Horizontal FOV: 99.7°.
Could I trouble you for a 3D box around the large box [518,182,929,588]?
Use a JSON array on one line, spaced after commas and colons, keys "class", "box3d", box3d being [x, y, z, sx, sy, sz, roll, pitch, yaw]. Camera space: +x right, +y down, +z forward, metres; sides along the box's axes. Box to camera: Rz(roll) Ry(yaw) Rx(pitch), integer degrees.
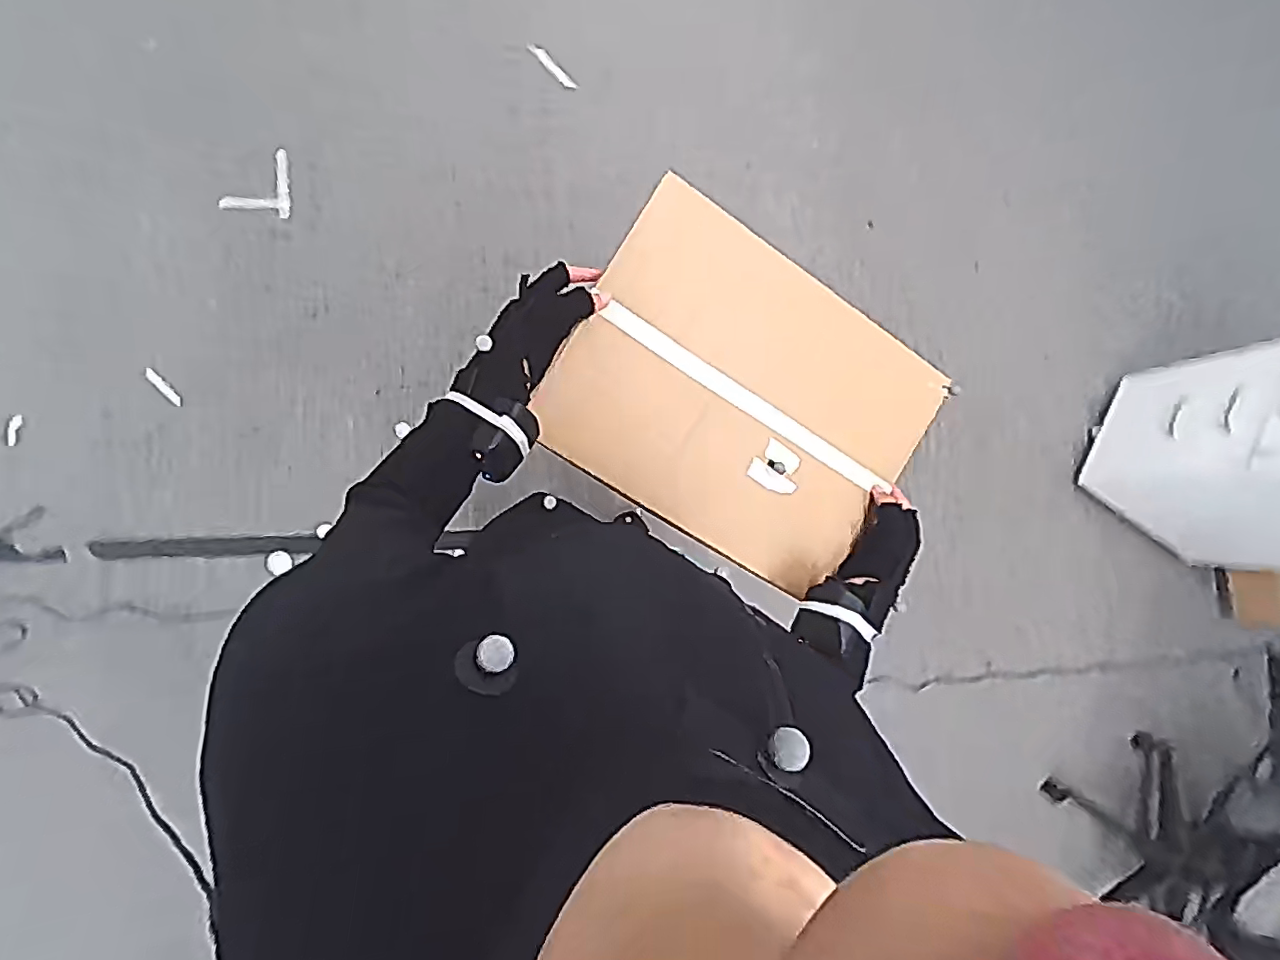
[{"class": "large box", "box3d": [0.080, -0.107, 0.756, 0.408, 0.320, 0.320, 31, 89, -12]}]
